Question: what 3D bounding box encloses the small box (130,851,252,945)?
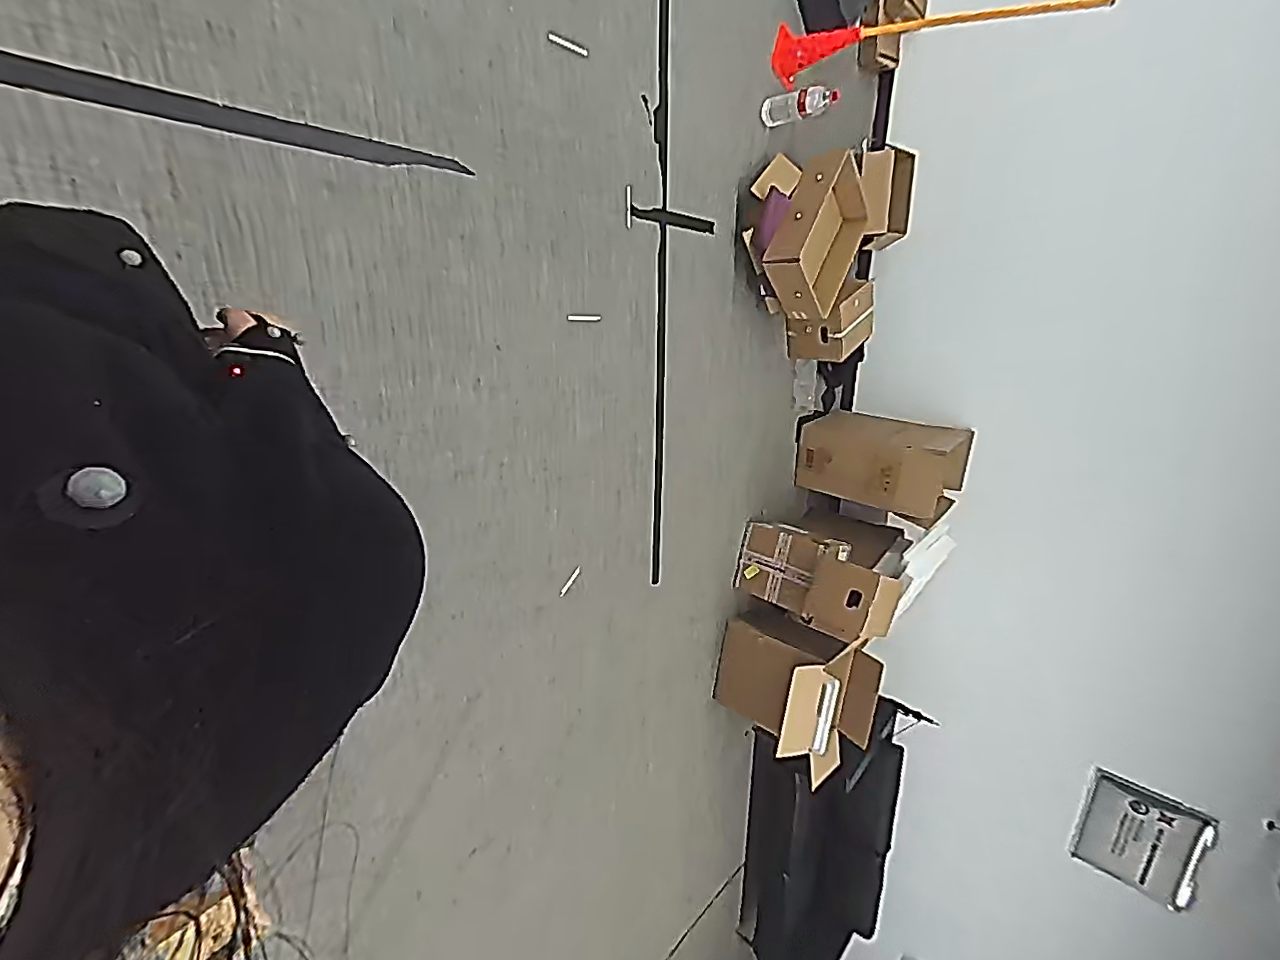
[{"bbox_3d":[-1.064,0.922,1.281,0.168,0.176,0.179,-29,122,-41],"label":"small box"}]
